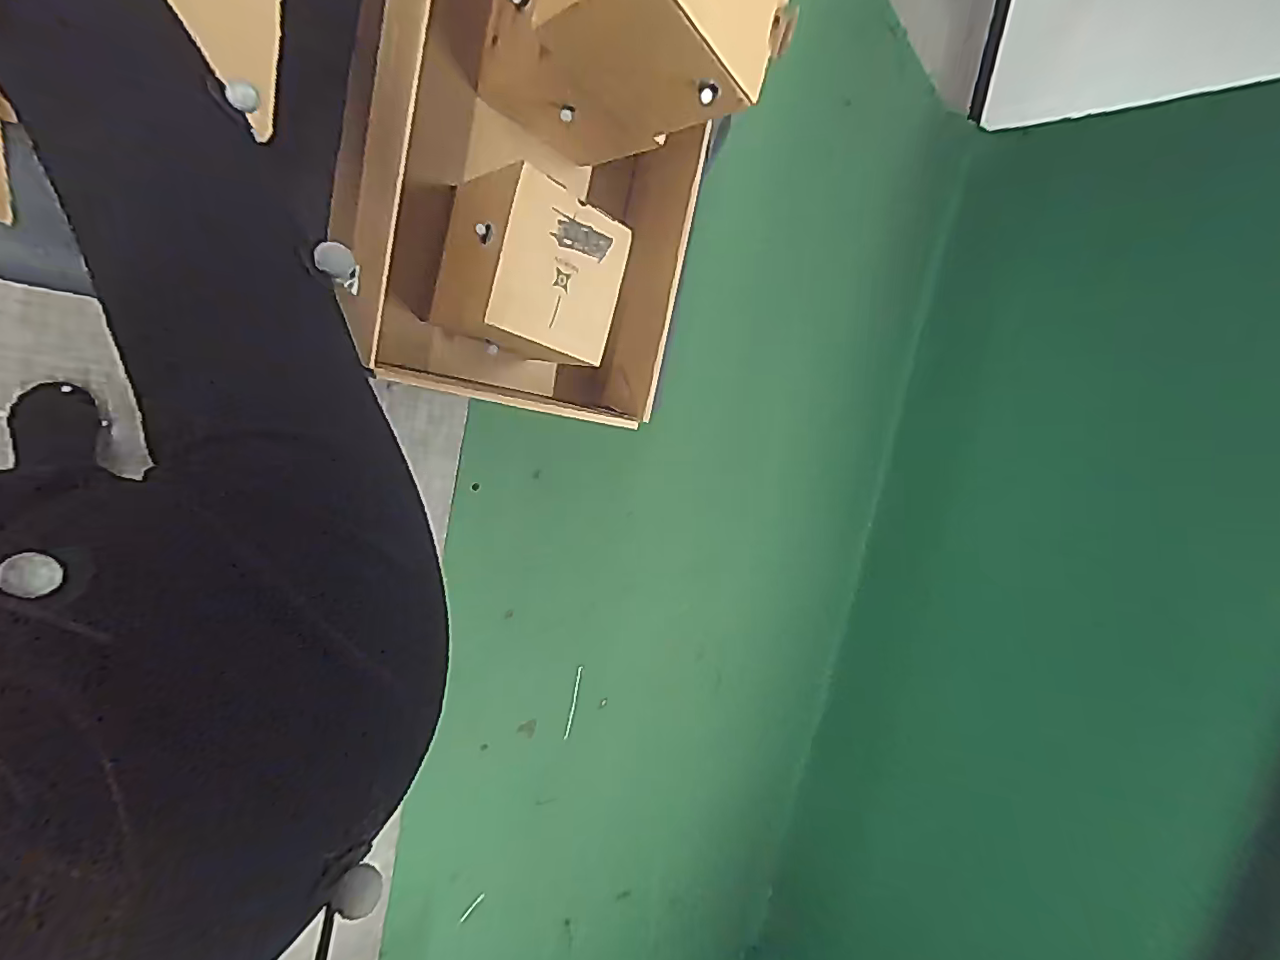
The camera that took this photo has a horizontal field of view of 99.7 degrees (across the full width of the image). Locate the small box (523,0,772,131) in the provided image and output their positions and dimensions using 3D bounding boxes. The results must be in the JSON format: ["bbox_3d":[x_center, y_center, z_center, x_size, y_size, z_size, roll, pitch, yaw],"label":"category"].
[{"bbox_3d":[0.011,-0.488,0.541,0.179,0.176,0.168,15,93,-48],"label":"small box"}]
